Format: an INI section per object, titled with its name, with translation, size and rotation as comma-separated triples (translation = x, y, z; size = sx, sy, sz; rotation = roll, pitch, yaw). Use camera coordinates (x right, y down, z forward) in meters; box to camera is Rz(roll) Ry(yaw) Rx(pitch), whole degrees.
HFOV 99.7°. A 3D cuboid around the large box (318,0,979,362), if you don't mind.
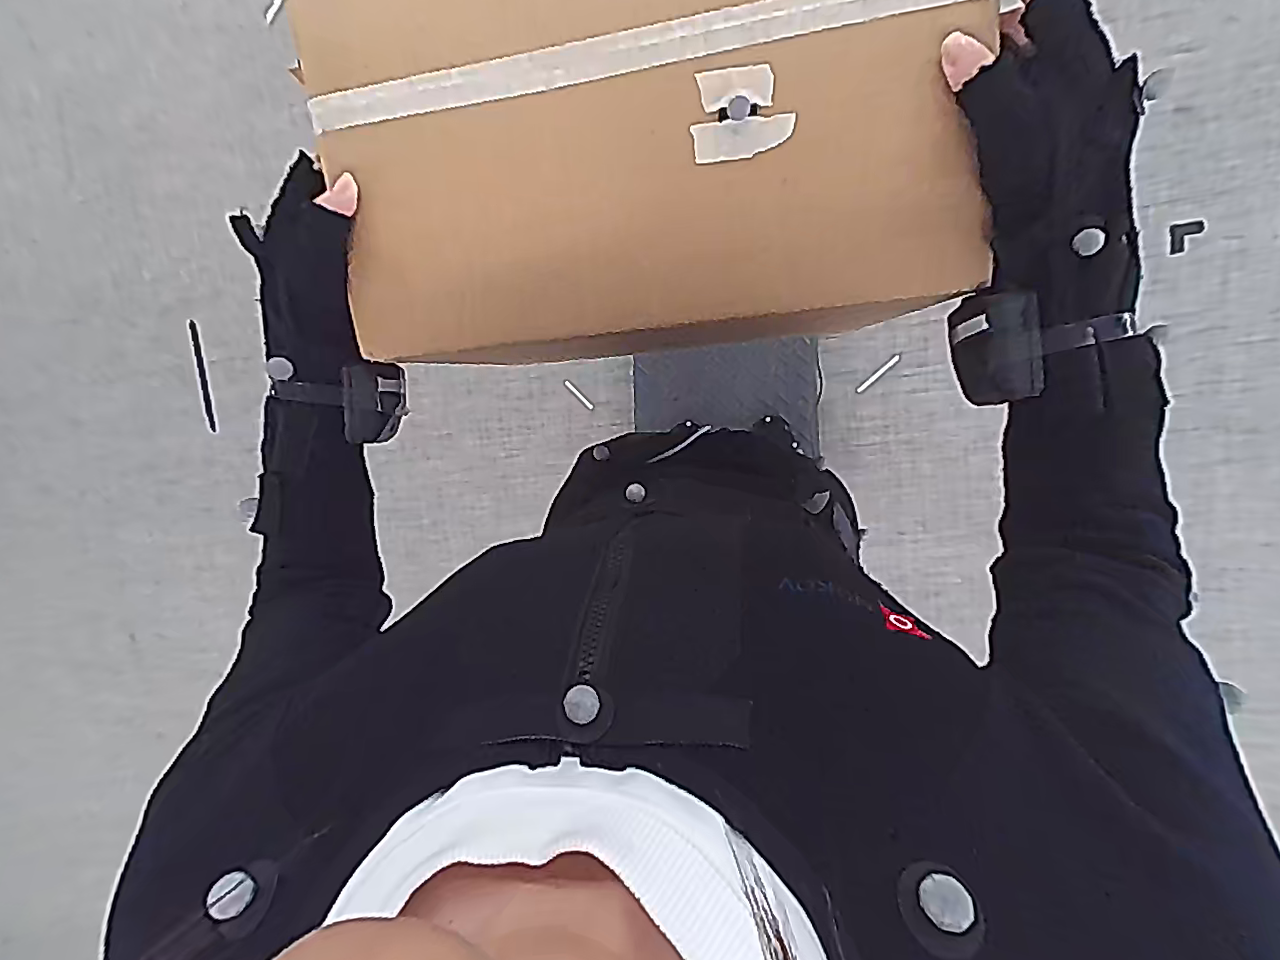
[large box]
translation = 0.013, -0.286, 0.477
size = 0.408, 0.320, 0.320
rotation = -4, 101, 9
